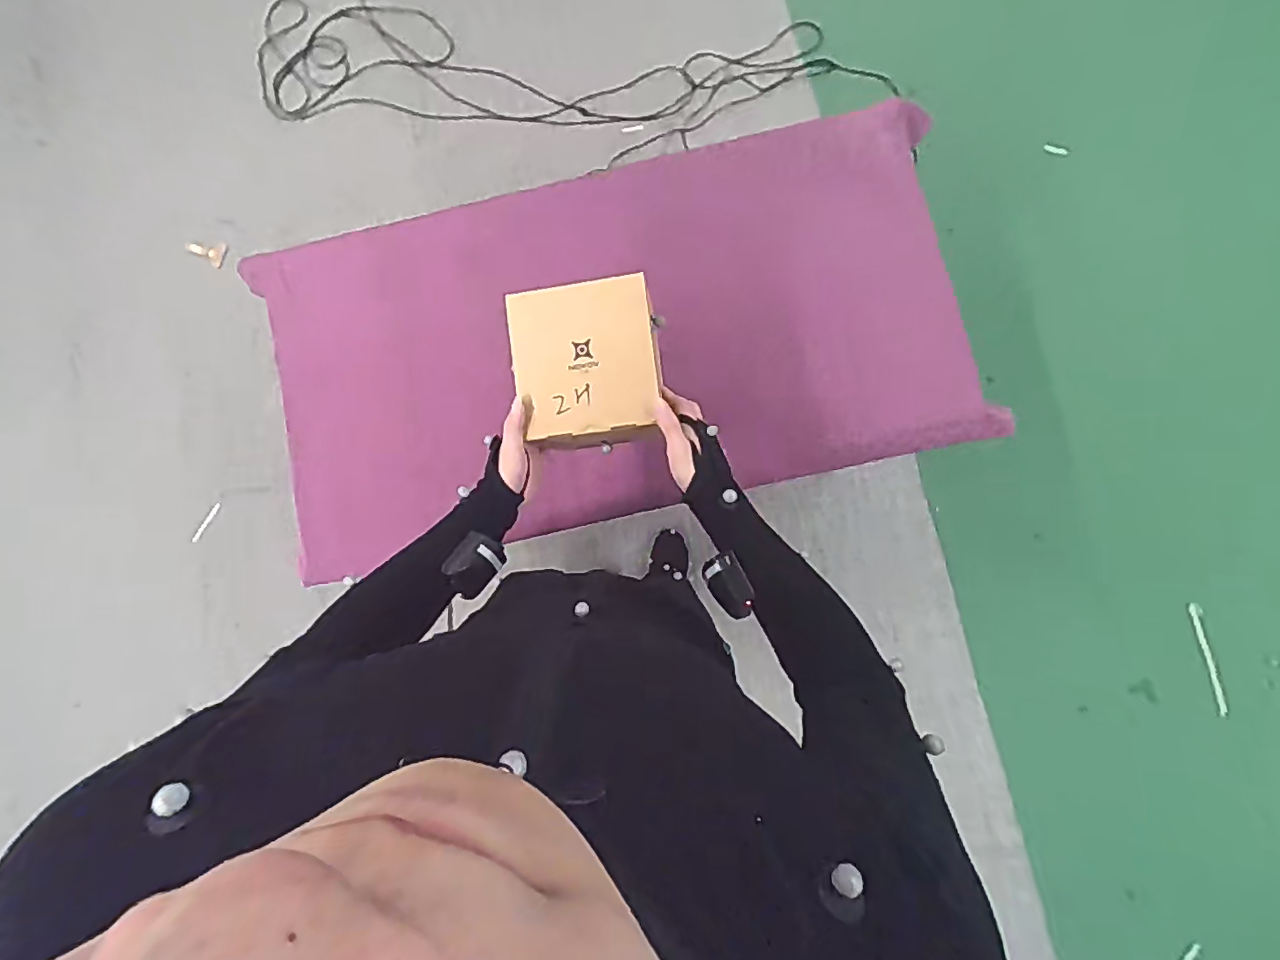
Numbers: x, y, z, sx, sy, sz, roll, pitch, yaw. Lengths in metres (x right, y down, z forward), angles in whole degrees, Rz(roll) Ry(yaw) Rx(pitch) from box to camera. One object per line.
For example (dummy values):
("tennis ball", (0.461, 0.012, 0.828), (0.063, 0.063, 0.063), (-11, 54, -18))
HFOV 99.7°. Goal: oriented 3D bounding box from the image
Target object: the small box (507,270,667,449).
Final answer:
("small box", (-0.058, -0.140, 0.688), (0.168, 0.176, 0.179), (-6, 88, 6))
